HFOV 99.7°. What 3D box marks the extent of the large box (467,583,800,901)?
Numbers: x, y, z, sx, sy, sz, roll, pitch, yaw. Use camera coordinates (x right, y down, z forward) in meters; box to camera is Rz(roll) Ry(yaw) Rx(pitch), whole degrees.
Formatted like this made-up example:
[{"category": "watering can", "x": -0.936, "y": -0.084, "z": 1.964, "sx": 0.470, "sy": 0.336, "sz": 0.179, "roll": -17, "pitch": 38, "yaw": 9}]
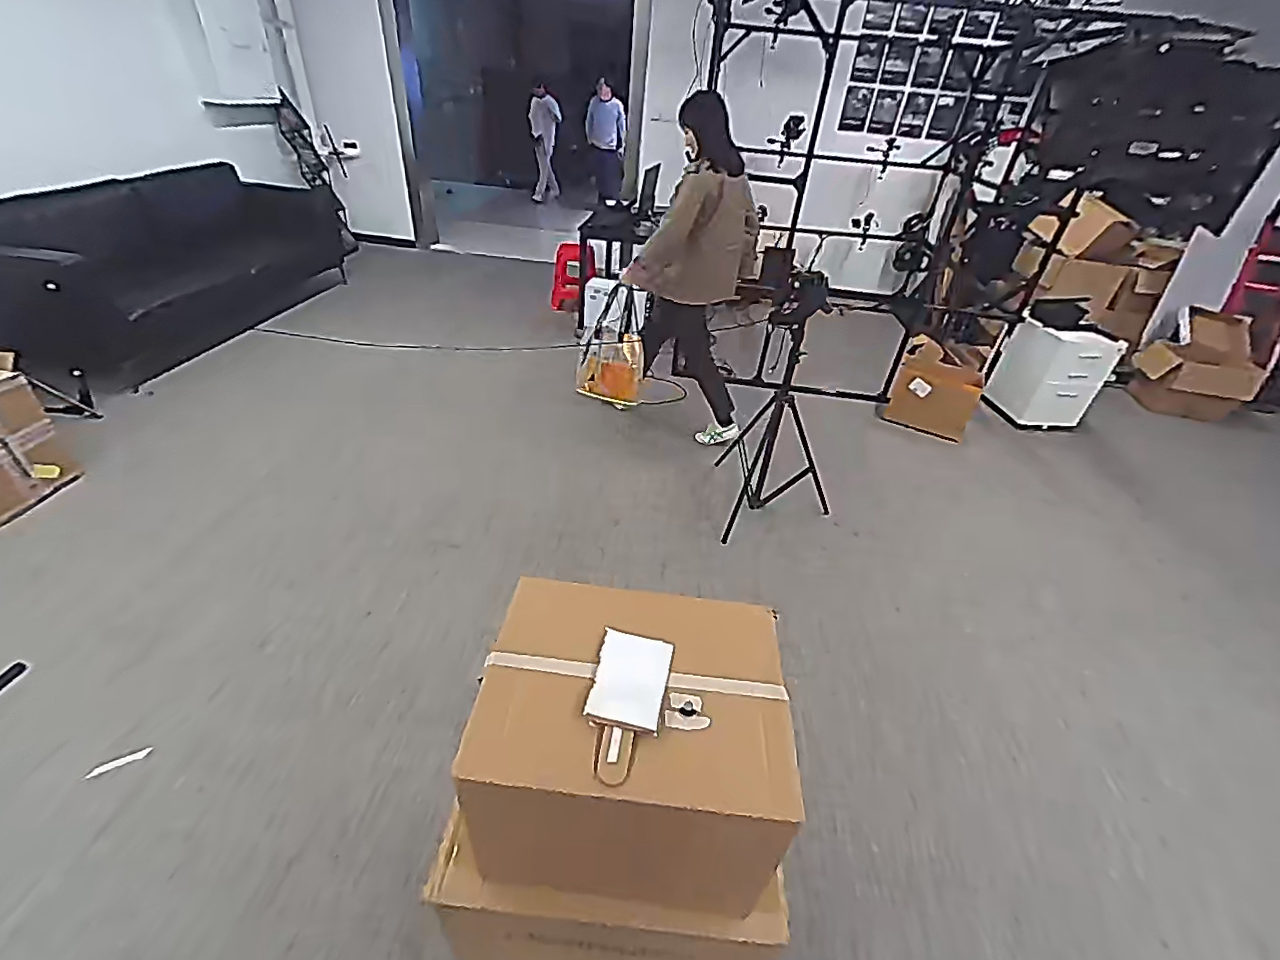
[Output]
[{"category": "large box", "x": -0.013, "y": 0.395, "z": 0.834, "sx": 0.408, "sy": 0.320, "sz": 0.320, "roll": 7, "pitch": 36, "yaw": 1}]
